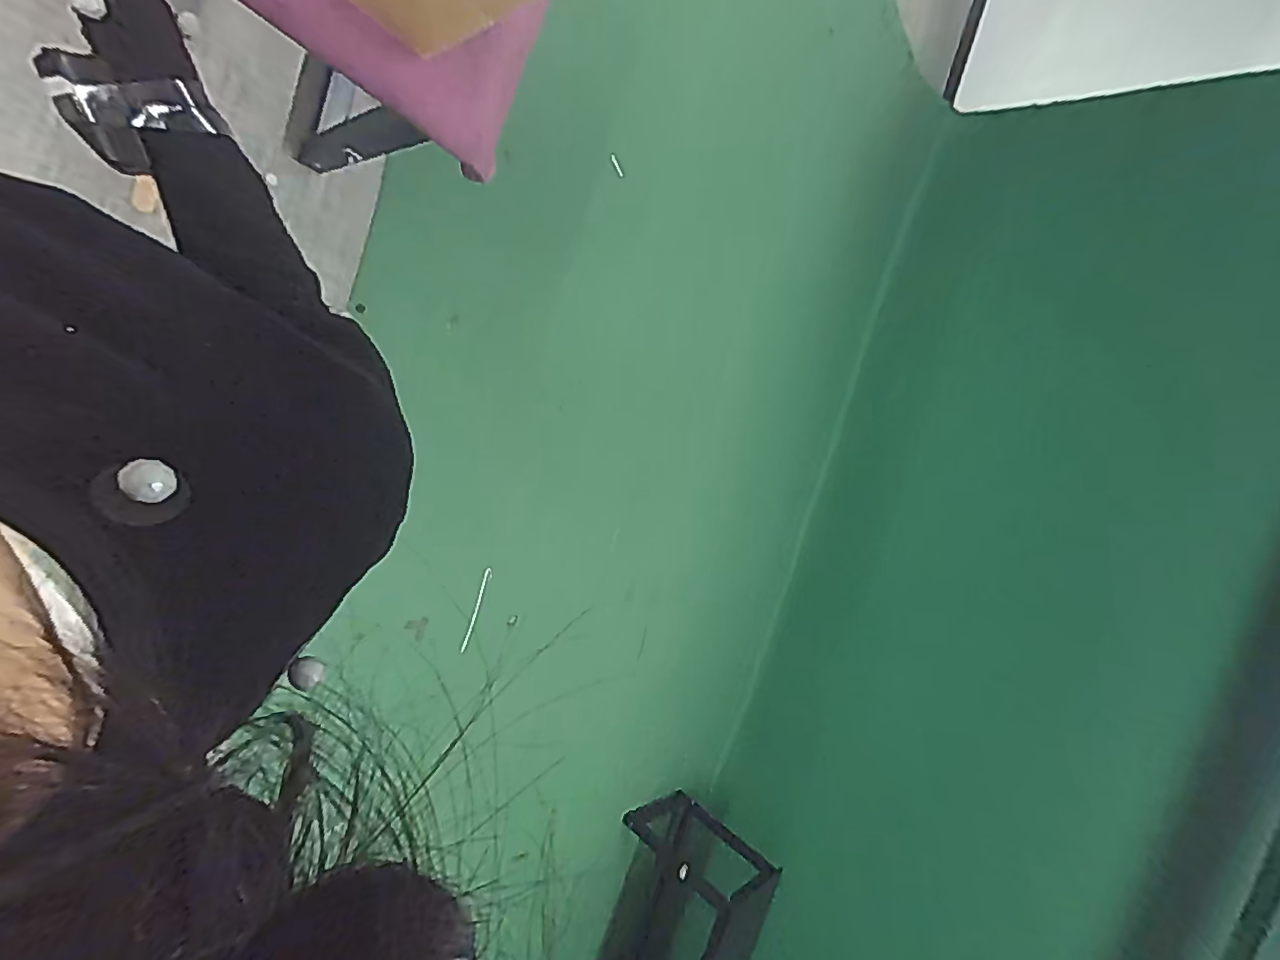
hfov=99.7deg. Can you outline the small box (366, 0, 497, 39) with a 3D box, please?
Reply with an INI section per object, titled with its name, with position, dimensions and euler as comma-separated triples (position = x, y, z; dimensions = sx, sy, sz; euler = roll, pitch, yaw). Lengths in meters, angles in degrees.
[small box]
position = -0.245, -0.618, 0.575
dimensions = 0.179, 0.176, 0.168
euler = 12, 98, -47
